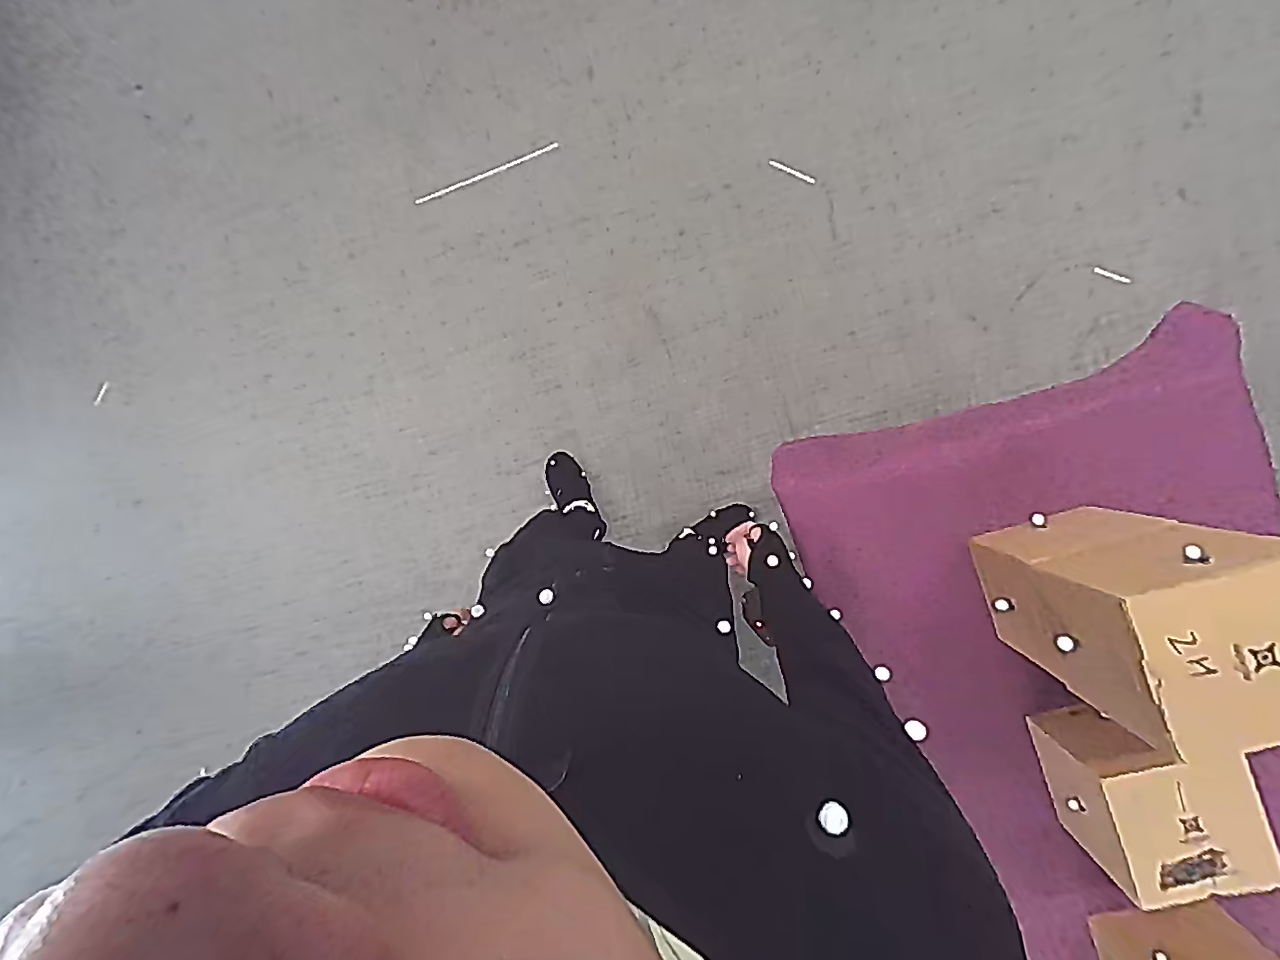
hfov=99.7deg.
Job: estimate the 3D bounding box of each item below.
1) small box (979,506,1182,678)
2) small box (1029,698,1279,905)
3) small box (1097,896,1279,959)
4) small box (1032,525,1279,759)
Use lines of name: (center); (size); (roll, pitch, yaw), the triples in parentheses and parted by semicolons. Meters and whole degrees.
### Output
small box: (0.596, 0.142, 0.734); (0.179, 0.176, 0.168); (-18, 91, 9)
small box: (0.682, 0.420, 0.738); (0.168, 0.176, 0.179); (-18, 90, 9)
small box: (0.781, 0.725, 0.743); (0.179, 0.176, 0.168); (-17, 91, 8)
small box: (0.570, 0.155, 0.572); (0.179, 0.176, 0.168); (-18, 90, 9)
